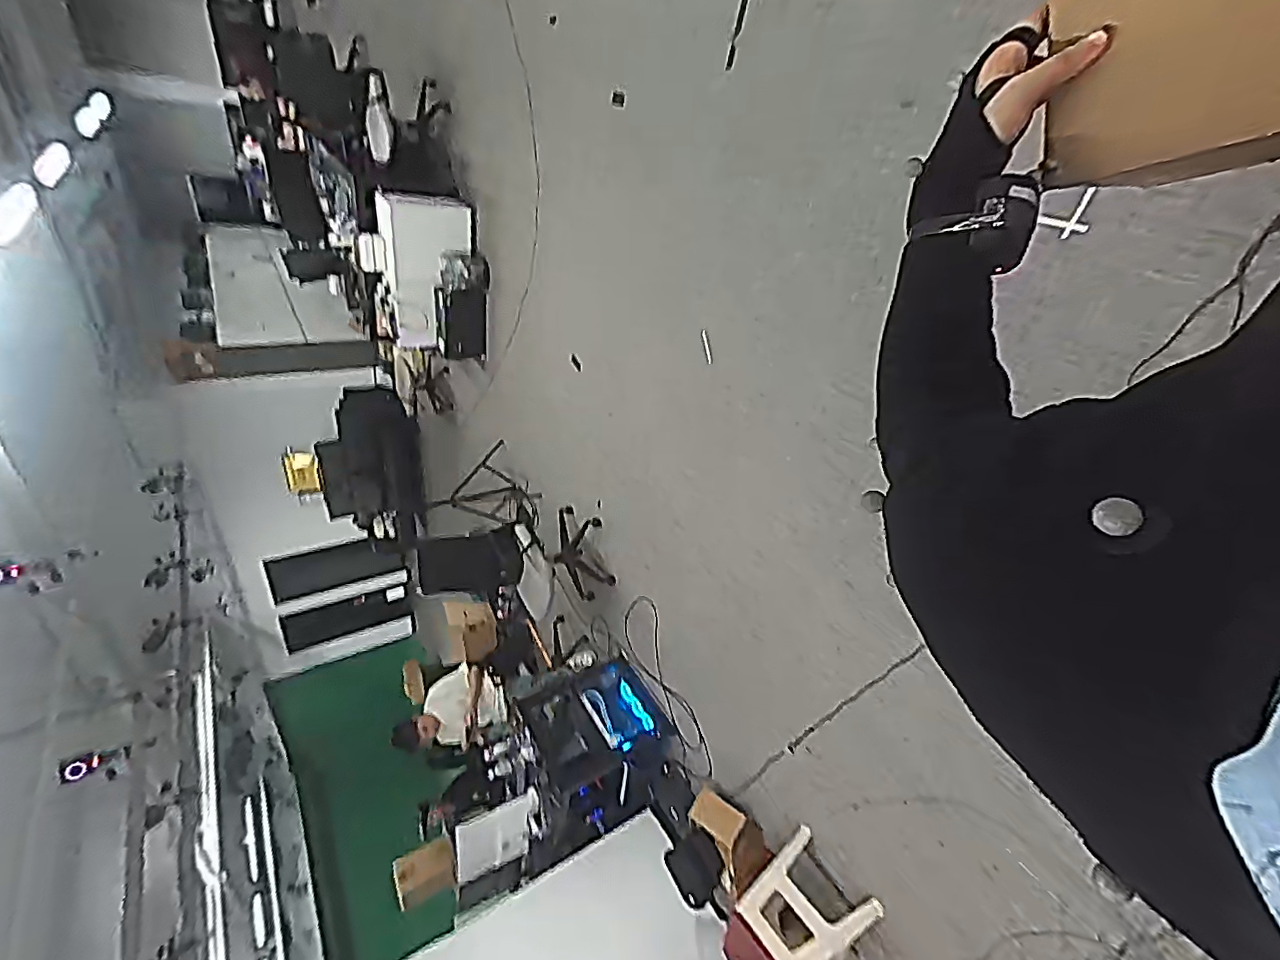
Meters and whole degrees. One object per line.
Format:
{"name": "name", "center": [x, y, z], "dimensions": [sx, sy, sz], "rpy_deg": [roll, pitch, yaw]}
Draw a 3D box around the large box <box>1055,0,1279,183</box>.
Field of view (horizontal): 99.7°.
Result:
{"name": "large box", "center": [0.556, -0.418, 0.334], "dimensions": [0.408, 0.320, 0.320], "rpy_deg": [11, 115, 54]}
